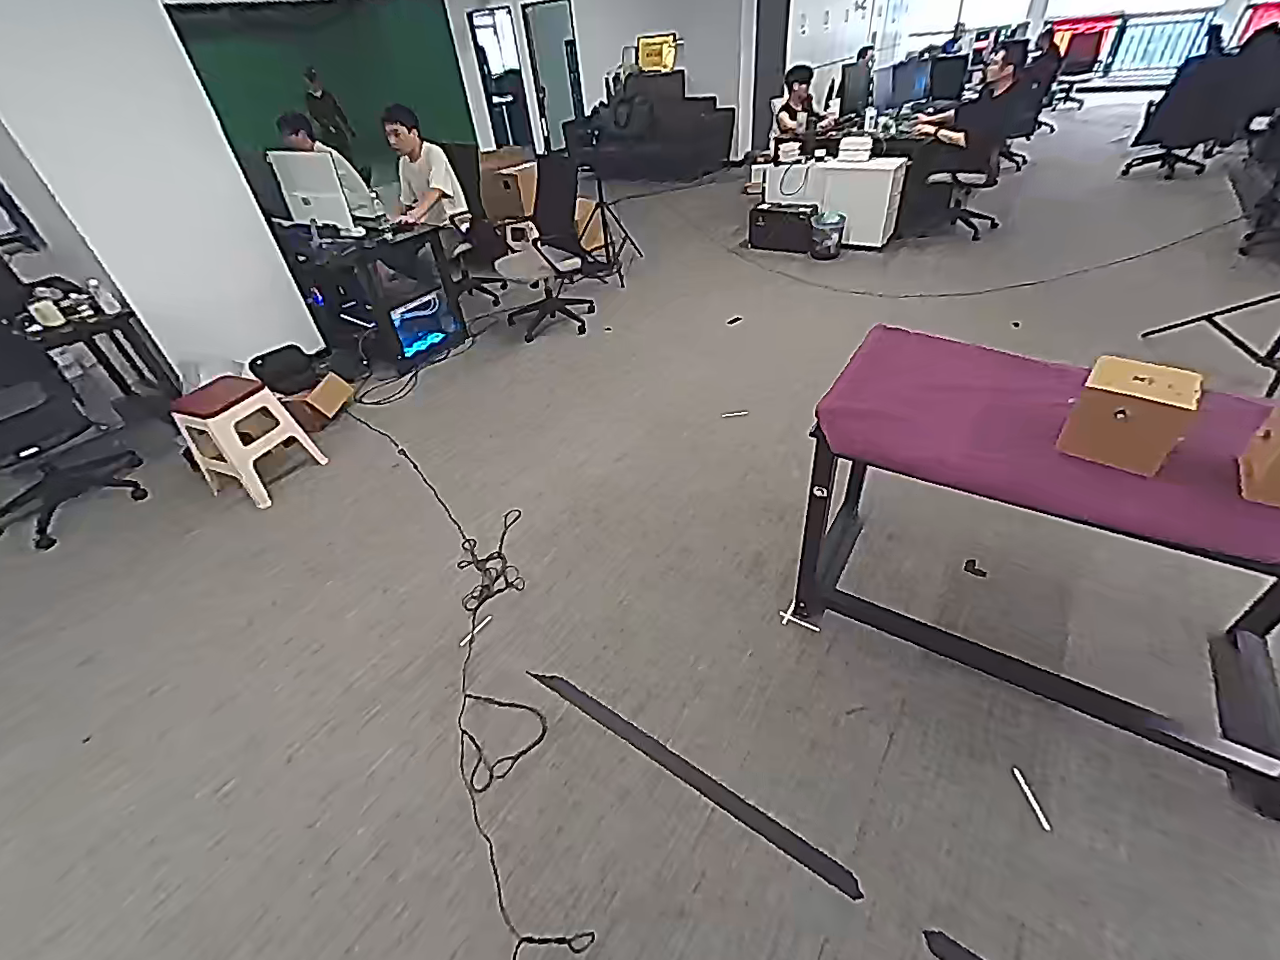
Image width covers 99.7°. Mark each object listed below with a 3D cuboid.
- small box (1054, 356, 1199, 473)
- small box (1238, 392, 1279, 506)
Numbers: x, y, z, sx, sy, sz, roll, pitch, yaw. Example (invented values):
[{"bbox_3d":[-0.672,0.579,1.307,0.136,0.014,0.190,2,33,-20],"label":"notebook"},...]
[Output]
[{"bbox_3d":[1.028,-0.140,1.153,0.179,0.176,0.168,26,50,34],"label":"small box"},{"bbox_3d":[1.267,-0.043,1.001,0.179,0.176,0.168,23,46,31],"label":"small box"}]
